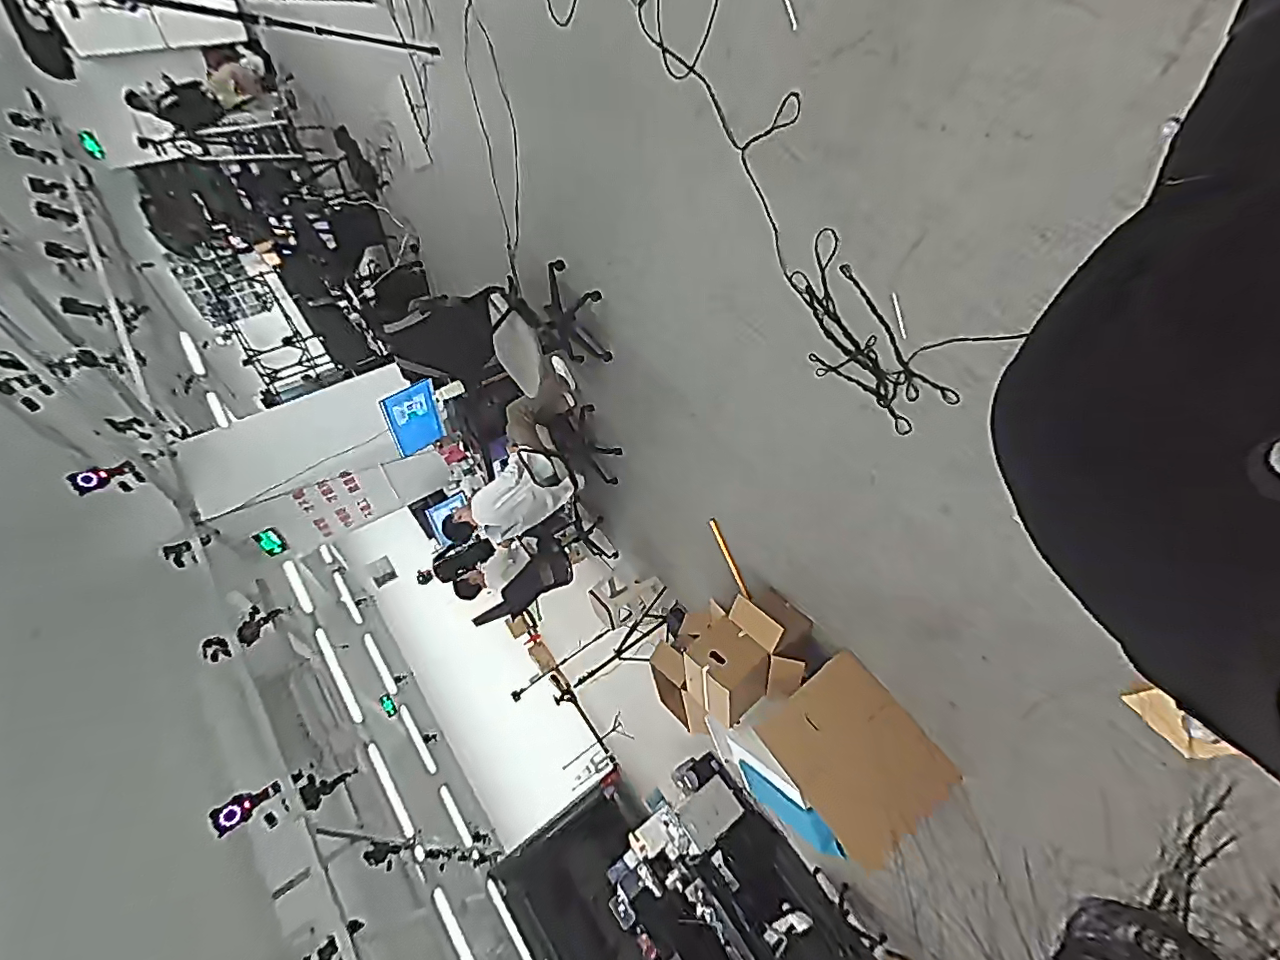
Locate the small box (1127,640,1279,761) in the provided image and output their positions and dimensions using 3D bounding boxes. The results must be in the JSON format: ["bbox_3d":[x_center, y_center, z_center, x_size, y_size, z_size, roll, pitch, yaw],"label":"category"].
[{"bbox_3d":[1.257,0.487,1.194,0.168,0.176,0.179,48,154,23],"label":"small box"}]
